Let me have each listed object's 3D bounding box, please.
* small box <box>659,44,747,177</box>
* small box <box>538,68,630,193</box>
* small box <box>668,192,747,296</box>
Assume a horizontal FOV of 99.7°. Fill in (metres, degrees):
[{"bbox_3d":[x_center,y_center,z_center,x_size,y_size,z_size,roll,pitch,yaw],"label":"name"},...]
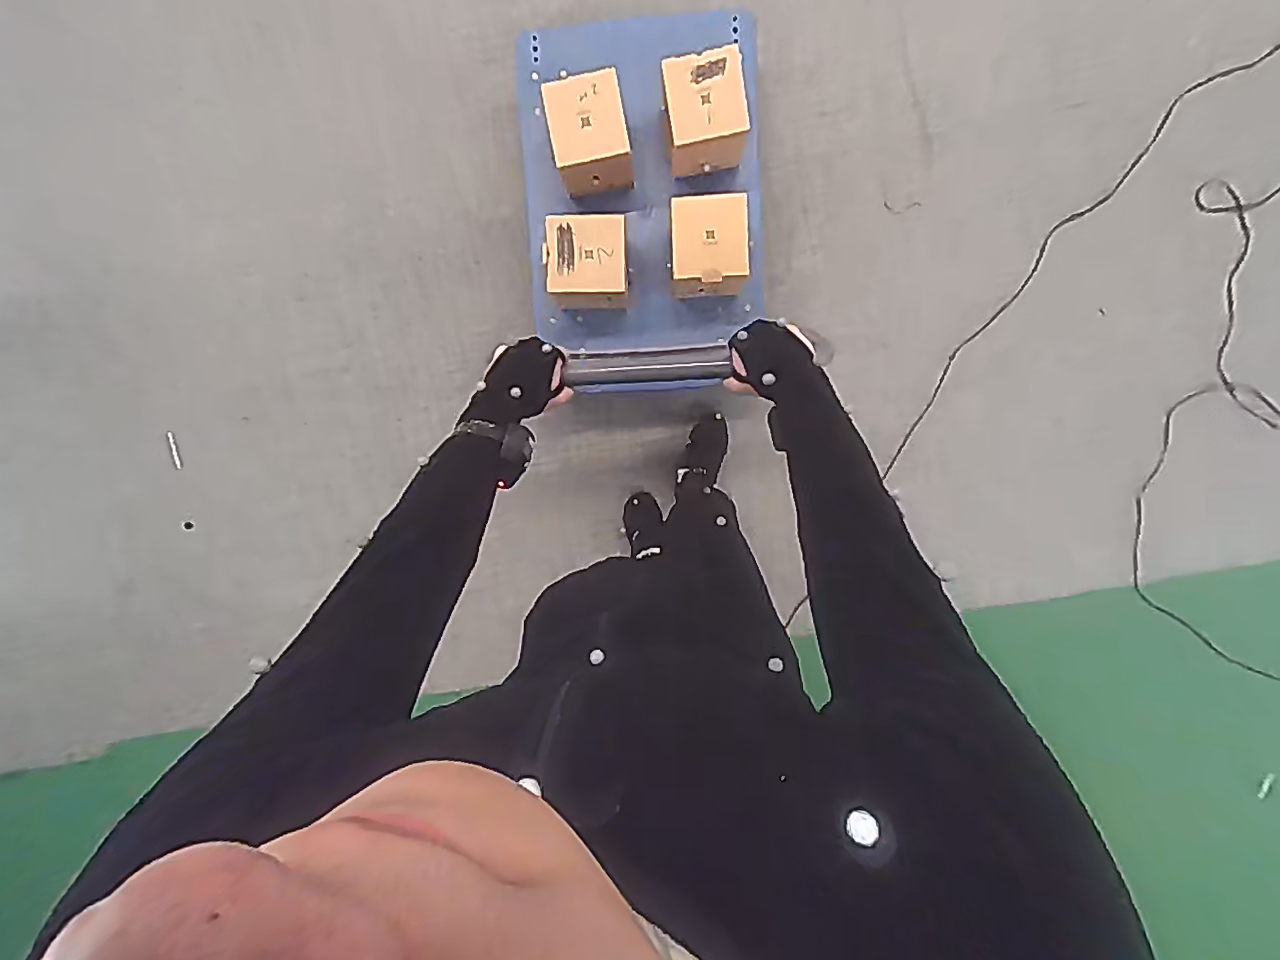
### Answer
[{"bbox_3d":[0.136,-0.823,1.220,0.168,0.176,0.179,-10,97,4],"label":"small box"},{"bbox_3d":[-0.120,-0.781,1.233,0.168,0.176,0.179,-11,96,2],"label":"small box"},{"bbox_3d":[0.151,-0.539,1.253,0.168,0.176,0.179,-3,97,2],"label":"small box"}]
